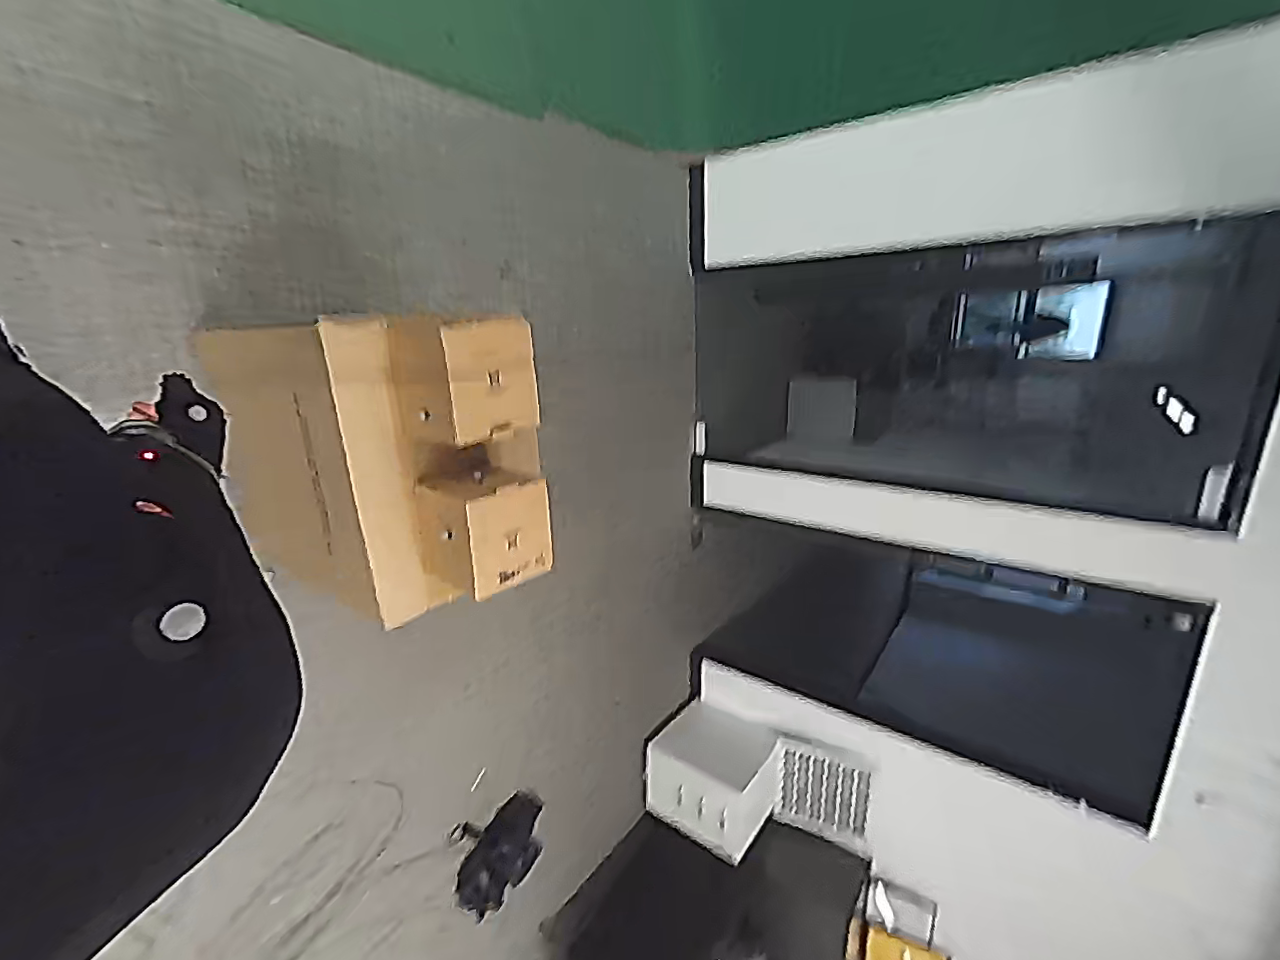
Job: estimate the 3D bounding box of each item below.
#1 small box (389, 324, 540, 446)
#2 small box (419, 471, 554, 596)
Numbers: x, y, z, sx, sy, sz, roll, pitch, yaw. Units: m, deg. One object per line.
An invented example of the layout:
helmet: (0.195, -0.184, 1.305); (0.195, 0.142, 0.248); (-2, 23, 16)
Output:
small box: (-0.293, -0.166, 0.910); (0.168, 0.176, 0.179); (-23, 115, -47)
small box: (-0.280, 0.084, 0.984); (0.168, 0.176, 0.179); (-19, 112, -46)
